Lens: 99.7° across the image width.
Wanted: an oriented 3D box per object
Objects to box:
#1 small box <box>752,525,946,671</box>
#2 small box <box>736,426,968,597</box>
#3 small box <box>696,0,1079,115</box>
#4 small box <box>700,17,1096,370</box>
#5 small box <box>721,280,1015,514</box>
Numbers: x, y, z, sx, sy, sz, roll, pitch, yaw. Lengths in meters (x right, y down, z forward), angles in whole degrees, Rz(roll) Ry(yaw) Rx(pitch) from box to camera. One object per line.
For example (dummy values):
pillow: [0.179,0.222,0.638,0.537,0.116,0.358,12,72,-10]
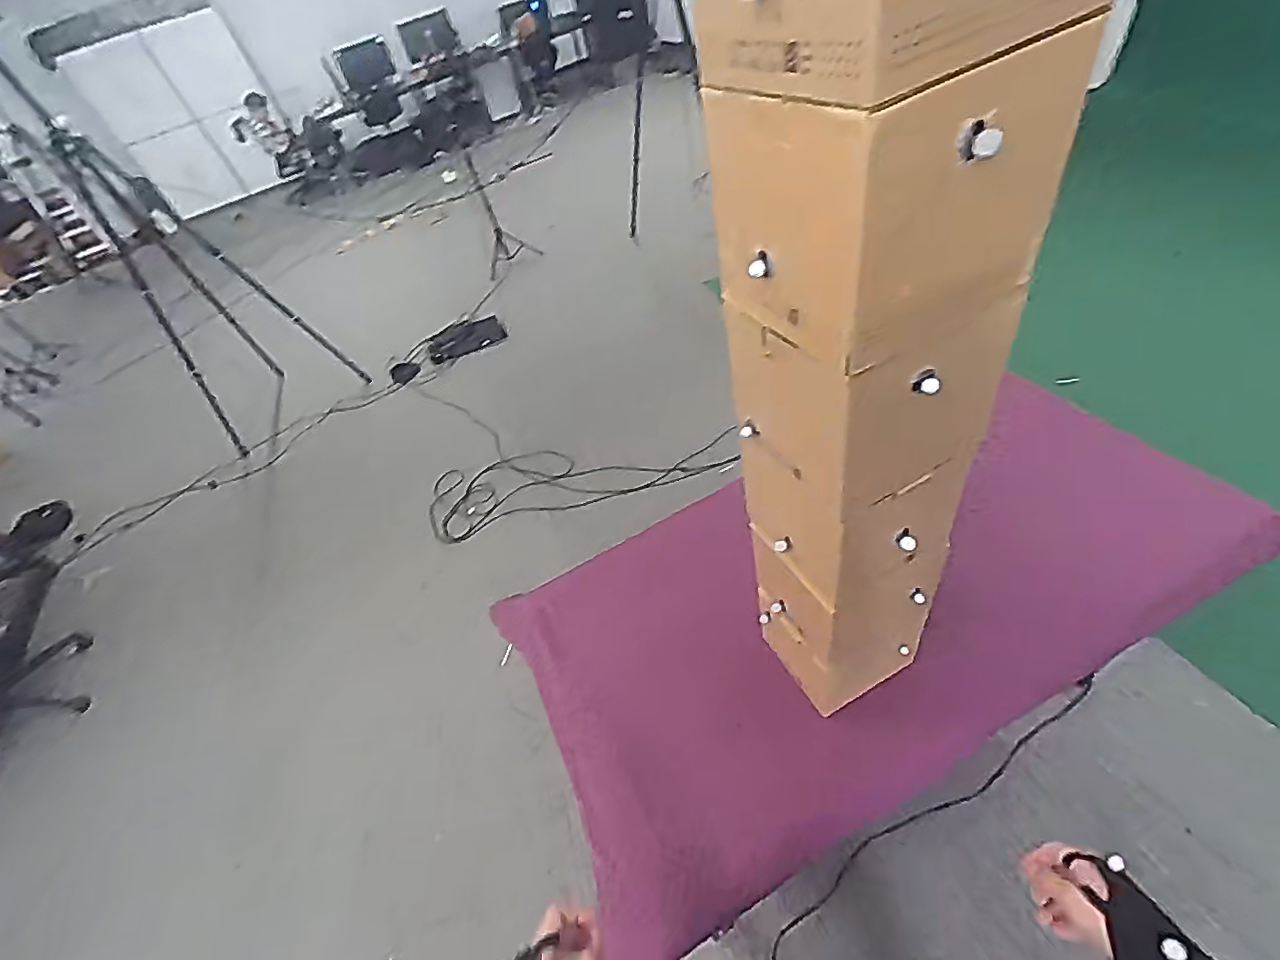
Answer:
small box: [0.272,0.124,0.740,0.179,0.176,0.168,-27,45,-9]
small box: [0.234,0.011,0.630,0.168,0.176,0.179,-27,46,-10]
small box: [0.132,-0.325,0.287,0.179,0.176,0.168,-28,45,-9]
small box: [0.167,-0.212,0.402,0.179,0.176,0.168,-28,45,-10]
small box: [0.201,-0.098,0.512,0.179,0.176,0.168,-27,45,-11]
